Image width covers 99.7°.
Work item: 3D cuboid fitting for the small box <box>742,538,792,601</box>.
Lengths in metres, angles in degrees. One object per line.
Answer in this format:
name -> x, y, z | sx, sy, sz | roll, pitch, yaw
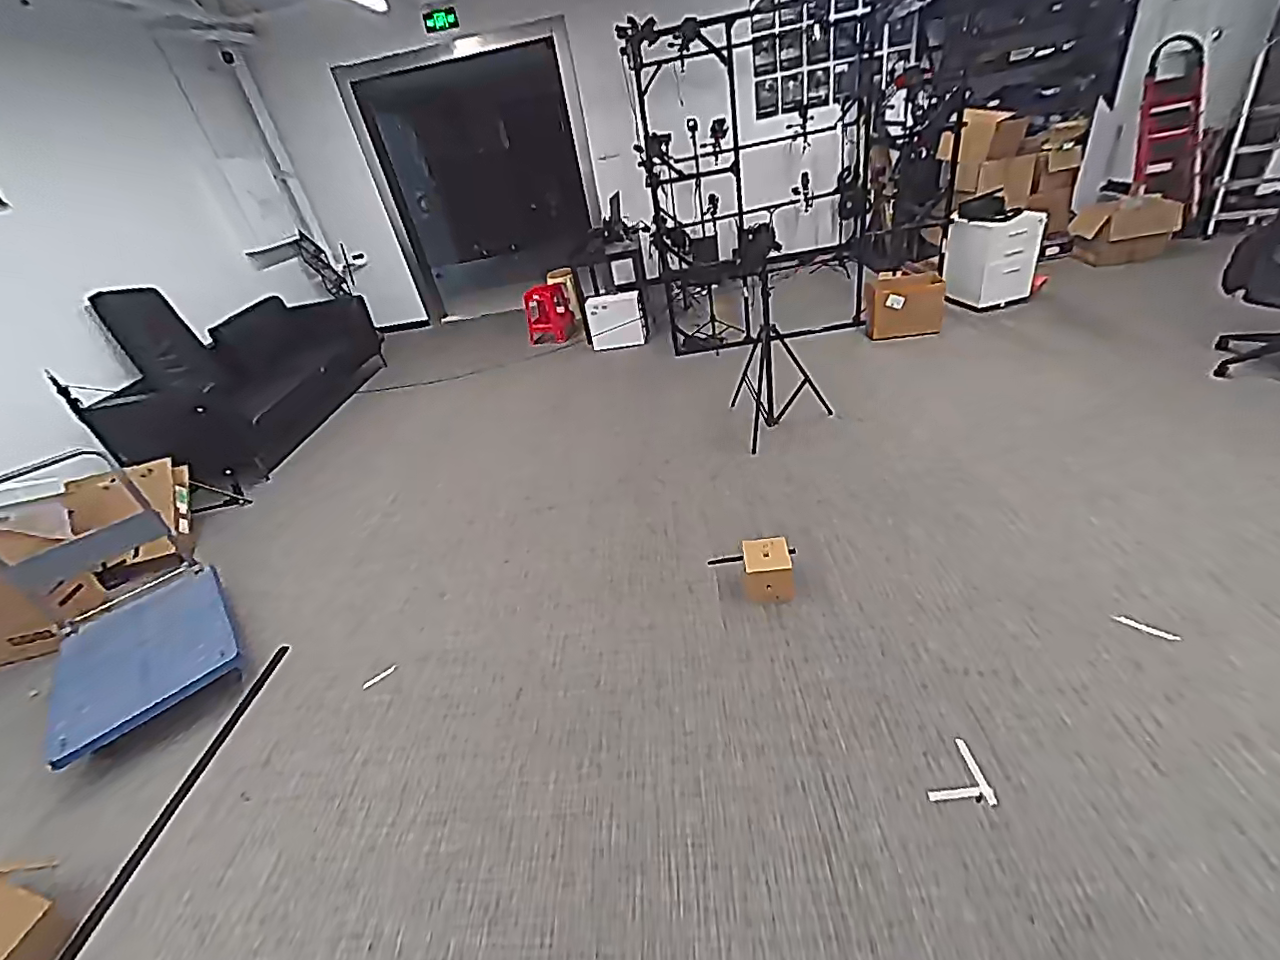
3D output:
small box -> 0.483, 0.345, 2.056 | 0.168, 0.176, 0.179 | -6, 32, 8
